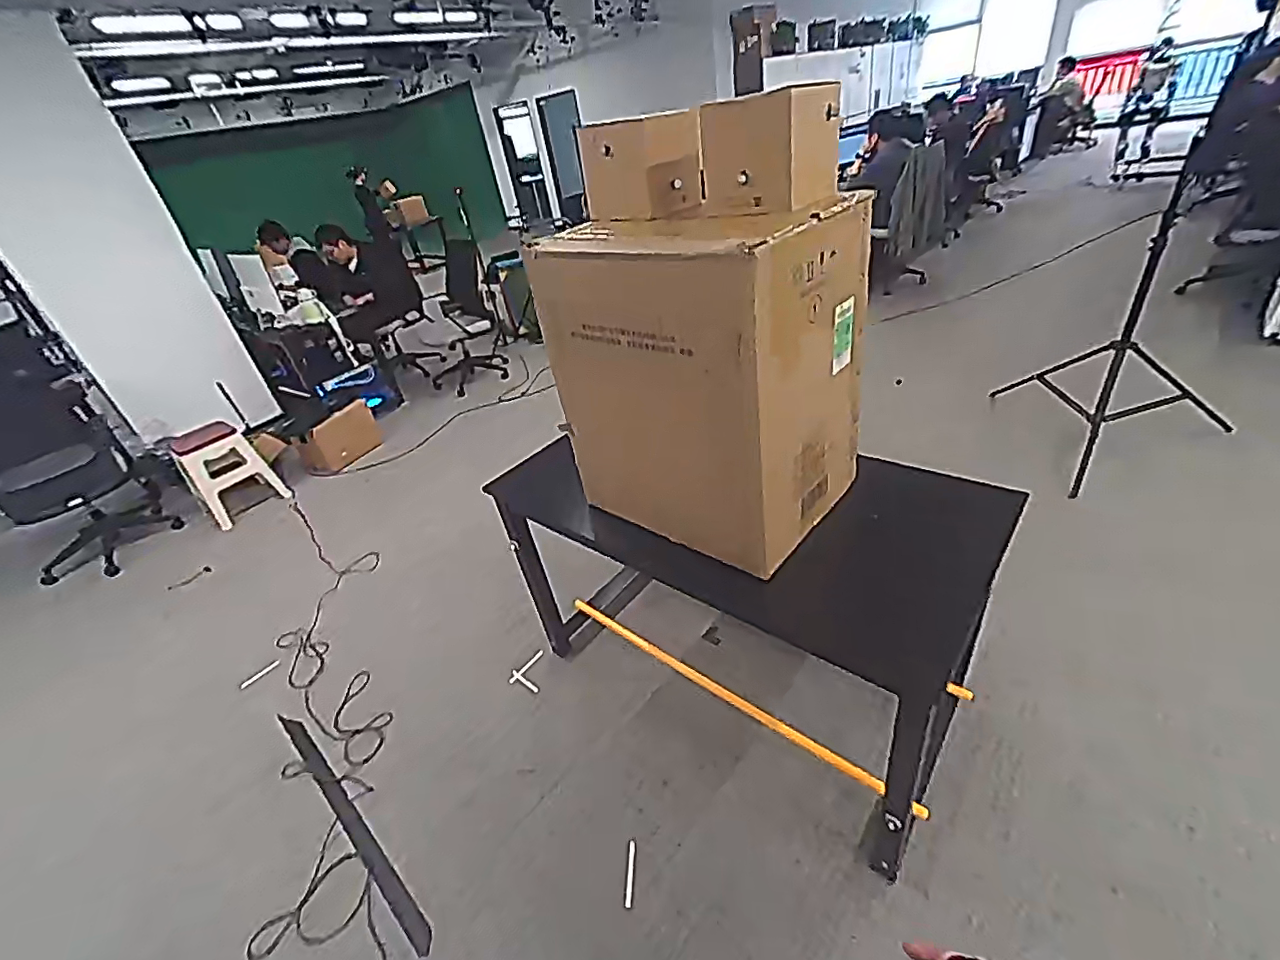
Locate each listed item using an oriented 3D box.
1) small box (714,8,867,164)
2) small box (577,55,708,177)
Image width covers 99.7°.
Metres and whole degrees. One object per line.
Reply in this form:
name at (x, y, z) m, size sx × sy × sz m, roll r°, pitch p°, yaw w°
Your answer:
small box at (0.233, -0.599, 0.839) m, size 0.168 × 0.176 × 0.179 m, roll 17°, pitch 41°, yaw 37°
small box at (0.010, -0.671, 1.006) m, size 0.179 × 0.176 × 0.168 m, roll 22°, pitch 44°, yaw 36°
